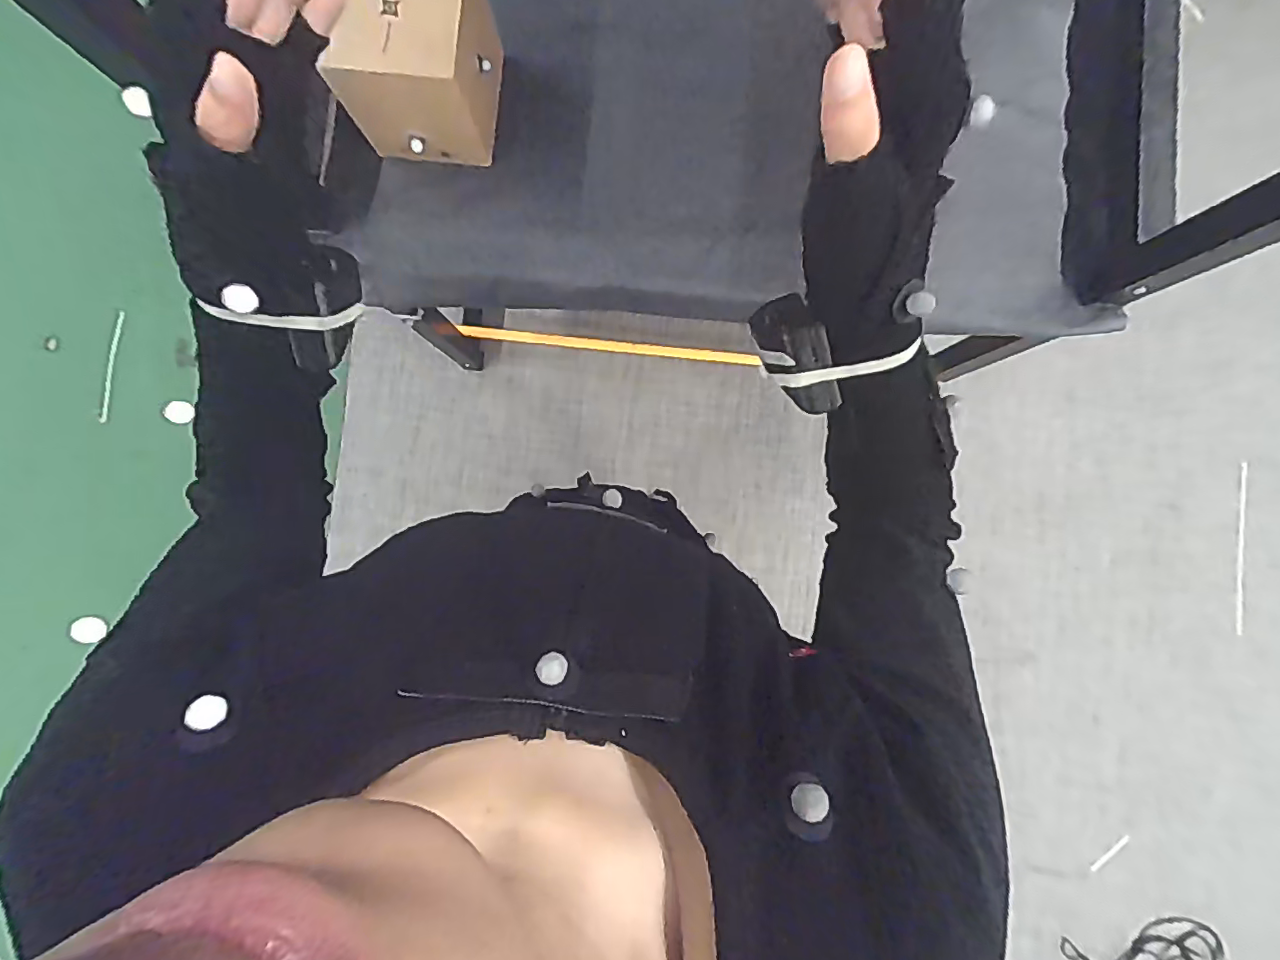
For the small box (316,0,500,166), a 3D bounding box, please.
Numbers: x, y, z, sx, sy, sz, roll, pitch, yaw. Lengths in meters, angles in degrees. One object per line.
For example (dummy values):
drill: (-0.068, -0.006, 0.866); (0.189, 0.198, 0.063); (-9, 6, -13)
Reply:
small box: (-0.290, -0.558, 0.715); (0.168, 0.176, 0.179); (5, 88, -1)
